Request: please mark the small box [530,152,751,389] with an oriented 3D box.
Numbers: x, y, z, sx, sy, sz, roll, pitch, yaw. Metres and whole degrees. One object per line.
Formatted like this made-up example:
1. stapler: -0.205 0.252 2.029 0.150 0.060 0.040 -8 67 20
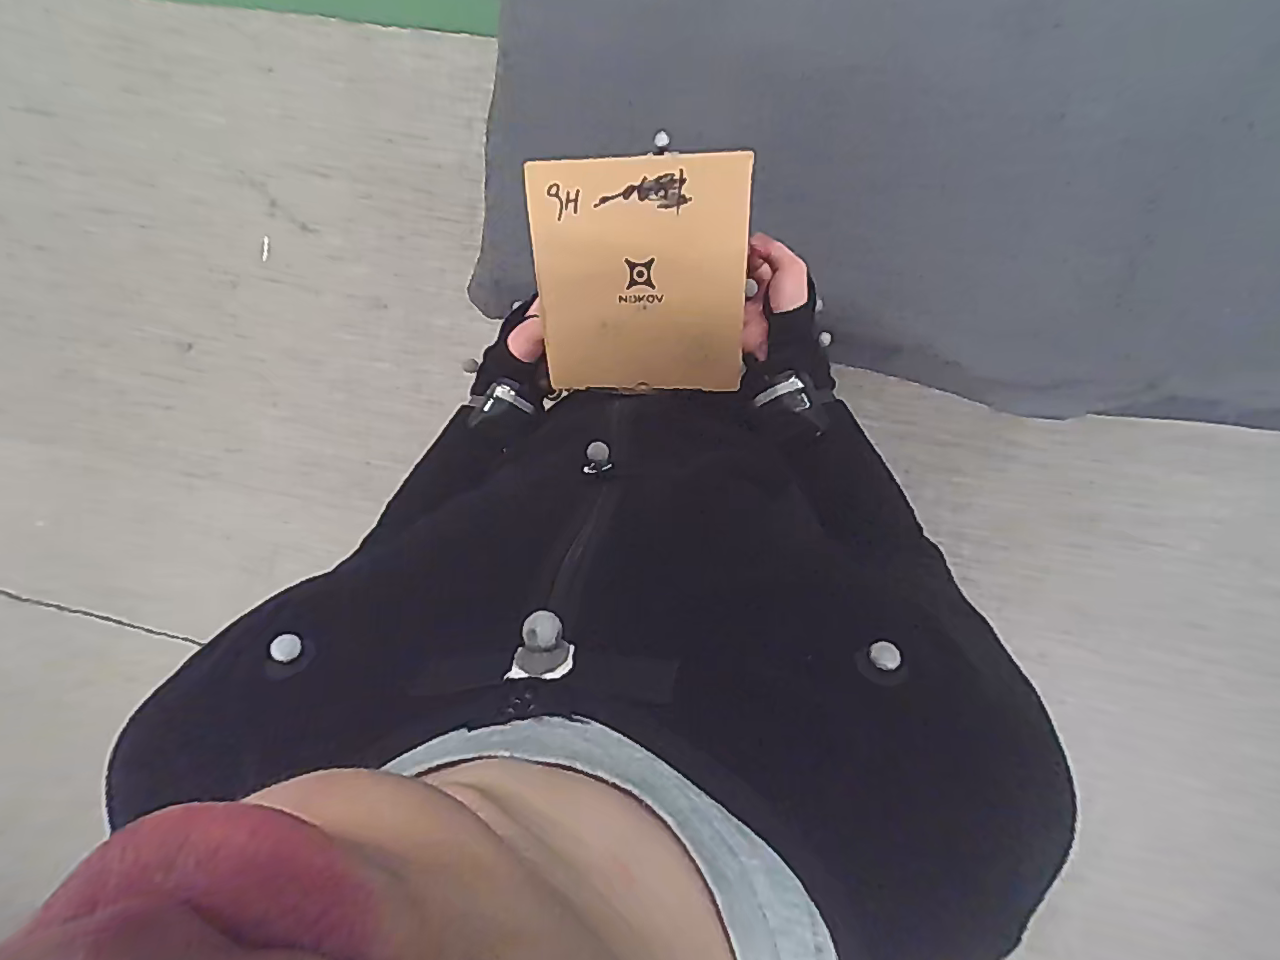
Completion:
1. small box: 0.010 -0.199 0.503 0.168 0.176 0.179 2 122 6
